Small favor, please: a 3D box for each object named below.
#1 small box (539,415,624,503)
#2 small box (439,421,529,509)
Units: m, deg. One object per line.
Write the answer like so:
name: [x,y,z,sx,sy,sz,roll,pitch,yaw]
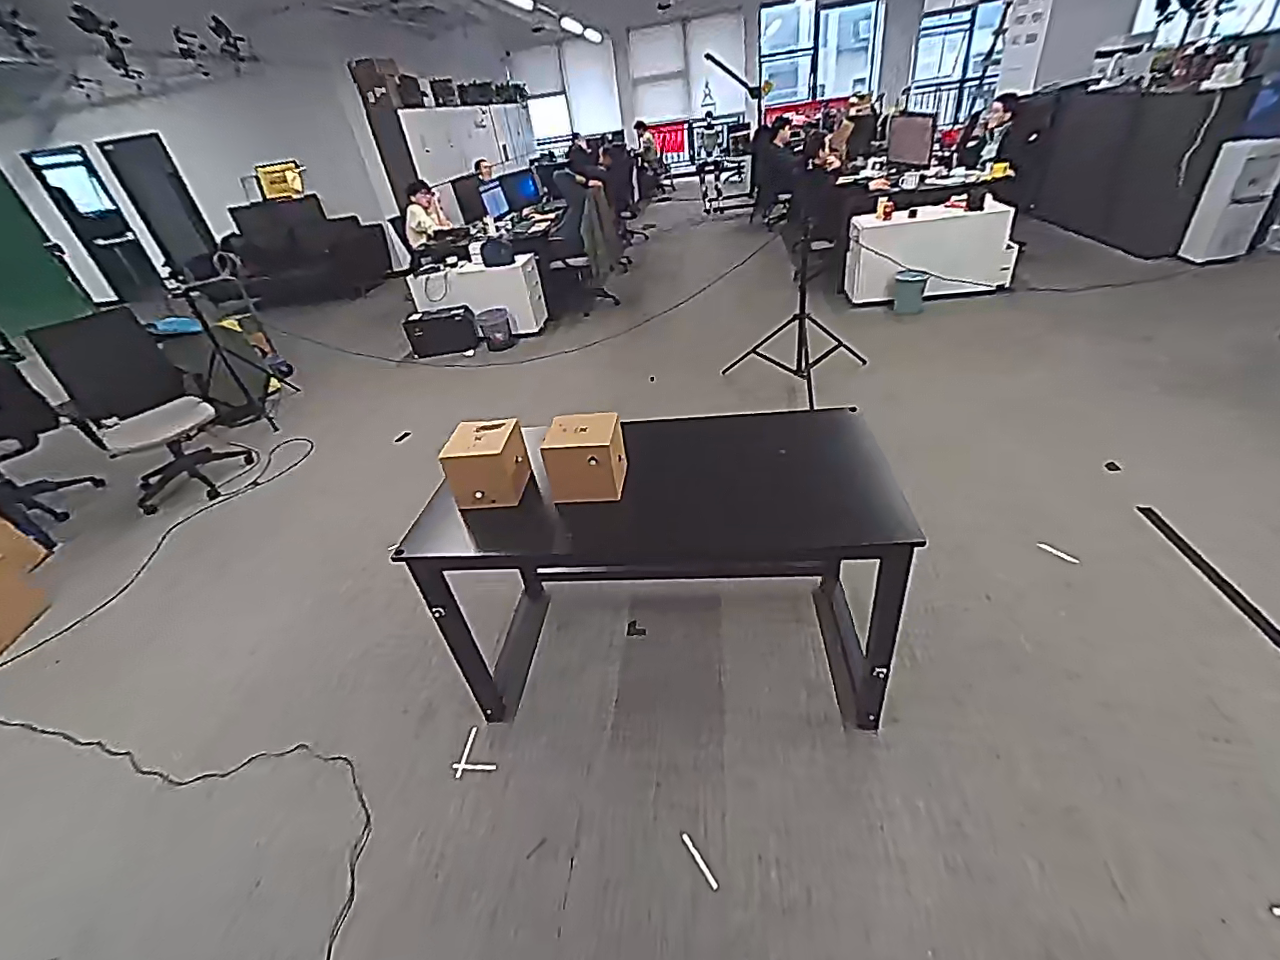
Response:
small box: [-0.142,-0.054,1.405,0.179,0.176,0.168,-3,34,8]
small box: [-0.406,-0.040,1.445,0.168,0.176,0.179,-4,36,7]
